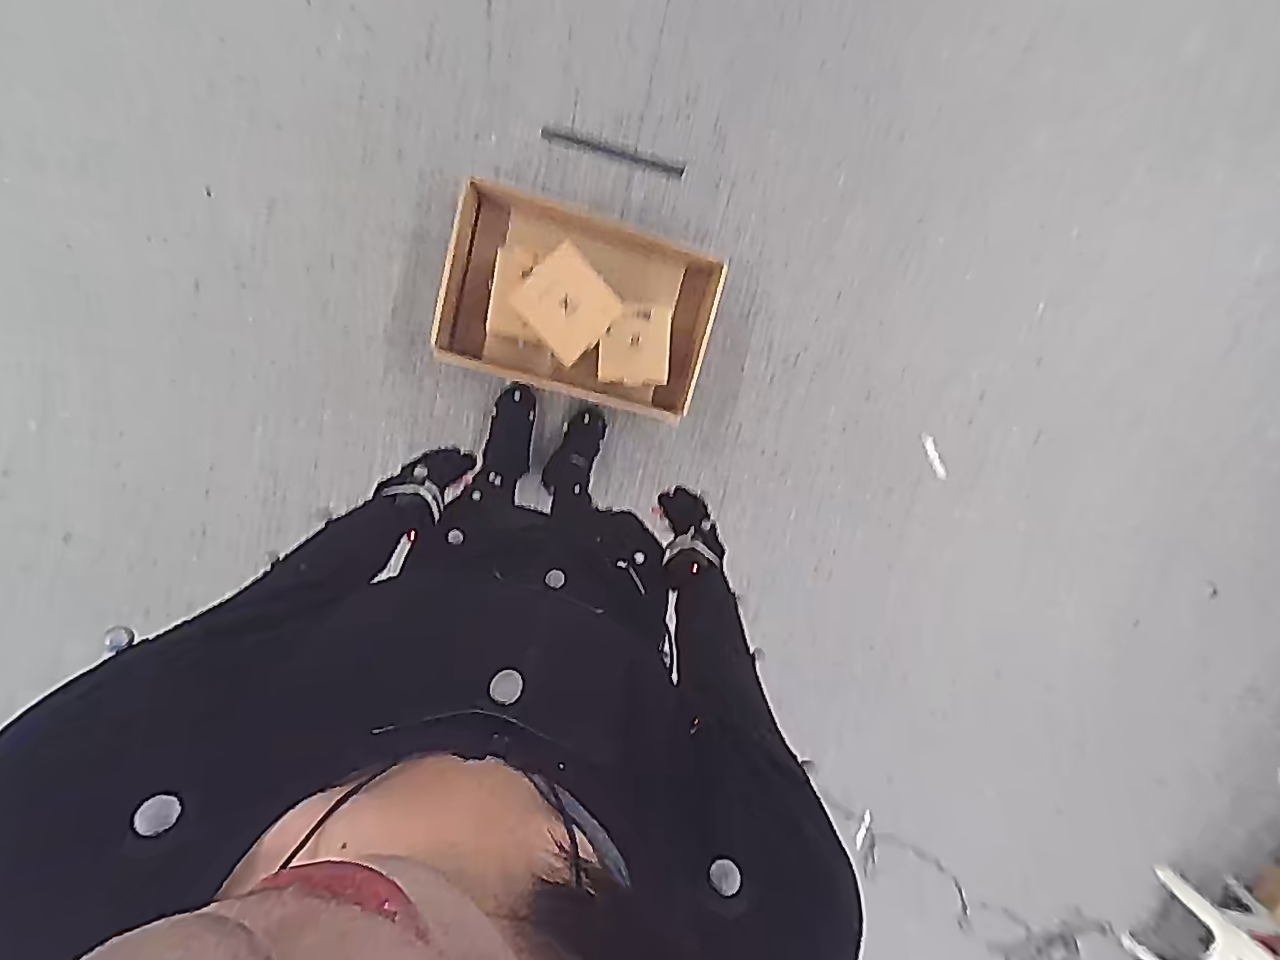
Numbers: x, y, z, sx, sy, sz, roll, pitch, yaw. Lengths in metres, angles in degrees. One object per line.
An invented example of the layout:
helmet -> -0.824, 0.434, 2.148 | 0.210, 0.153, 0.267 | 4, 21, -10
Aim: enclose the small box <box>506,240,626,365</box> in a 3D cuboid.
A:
small box -> -0.153, -0.359, 1.127 | 0.168, 0.176, 0.179 | -44, 103, 0
